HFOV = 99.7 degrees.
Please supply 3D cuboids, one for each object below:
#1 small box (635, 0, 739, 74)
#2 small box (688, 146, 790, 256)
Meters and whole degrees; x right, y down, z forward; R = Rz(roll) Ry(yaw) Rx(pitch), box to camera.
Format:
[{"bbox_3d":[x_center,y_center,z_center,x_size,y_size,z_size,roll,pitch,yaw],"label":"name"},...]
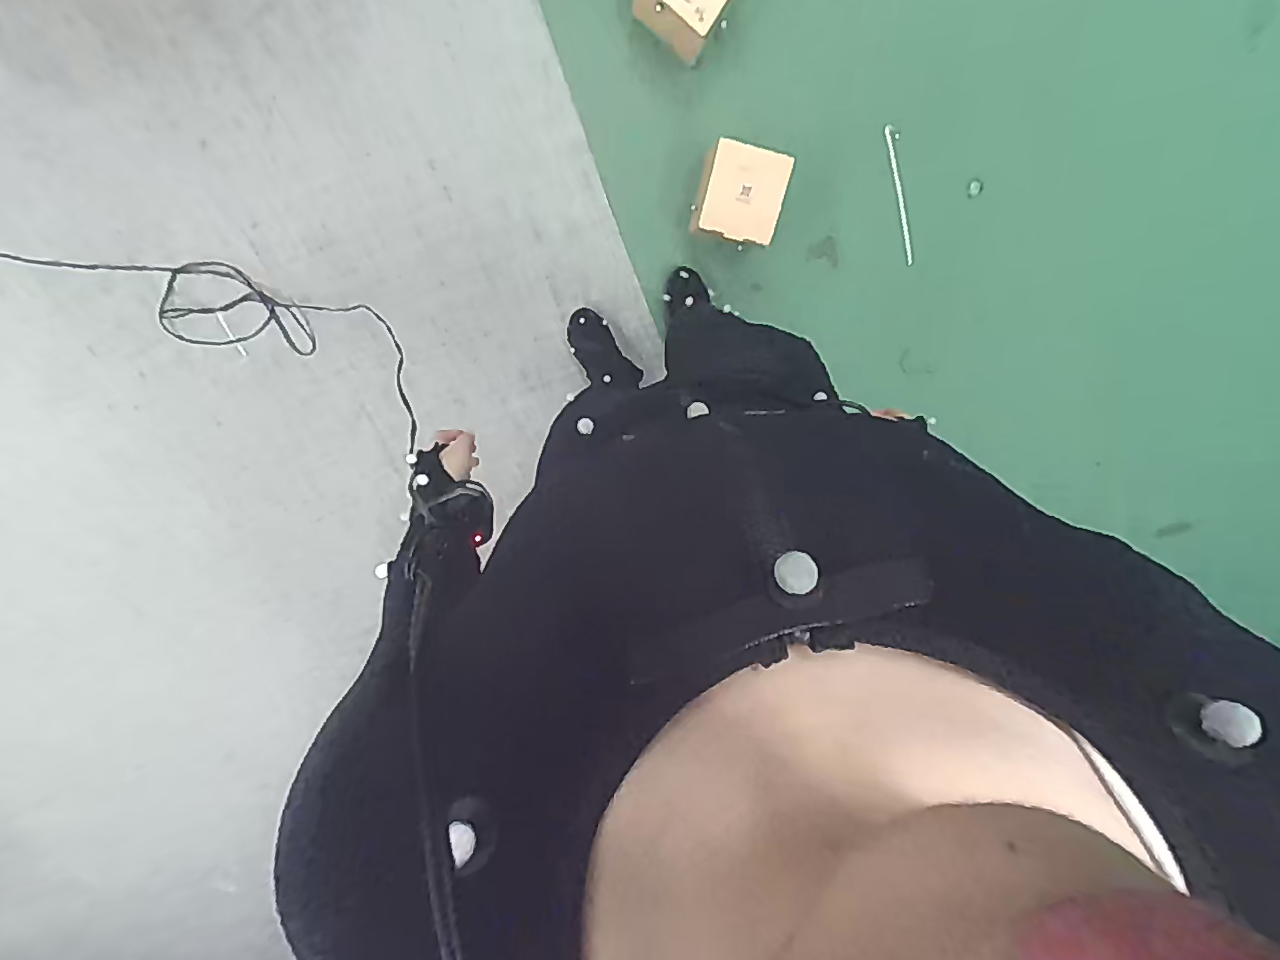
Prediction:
[{"bbox_3d":[0.100,-0.967,1.072,0.168,0.176,0.179,34,105,-14],"label":"small box"},{"bbox_3d":[0.211,-0.613,1.212,0.168,0.176,0.179,11,109,-8],"label":"small box"}]
